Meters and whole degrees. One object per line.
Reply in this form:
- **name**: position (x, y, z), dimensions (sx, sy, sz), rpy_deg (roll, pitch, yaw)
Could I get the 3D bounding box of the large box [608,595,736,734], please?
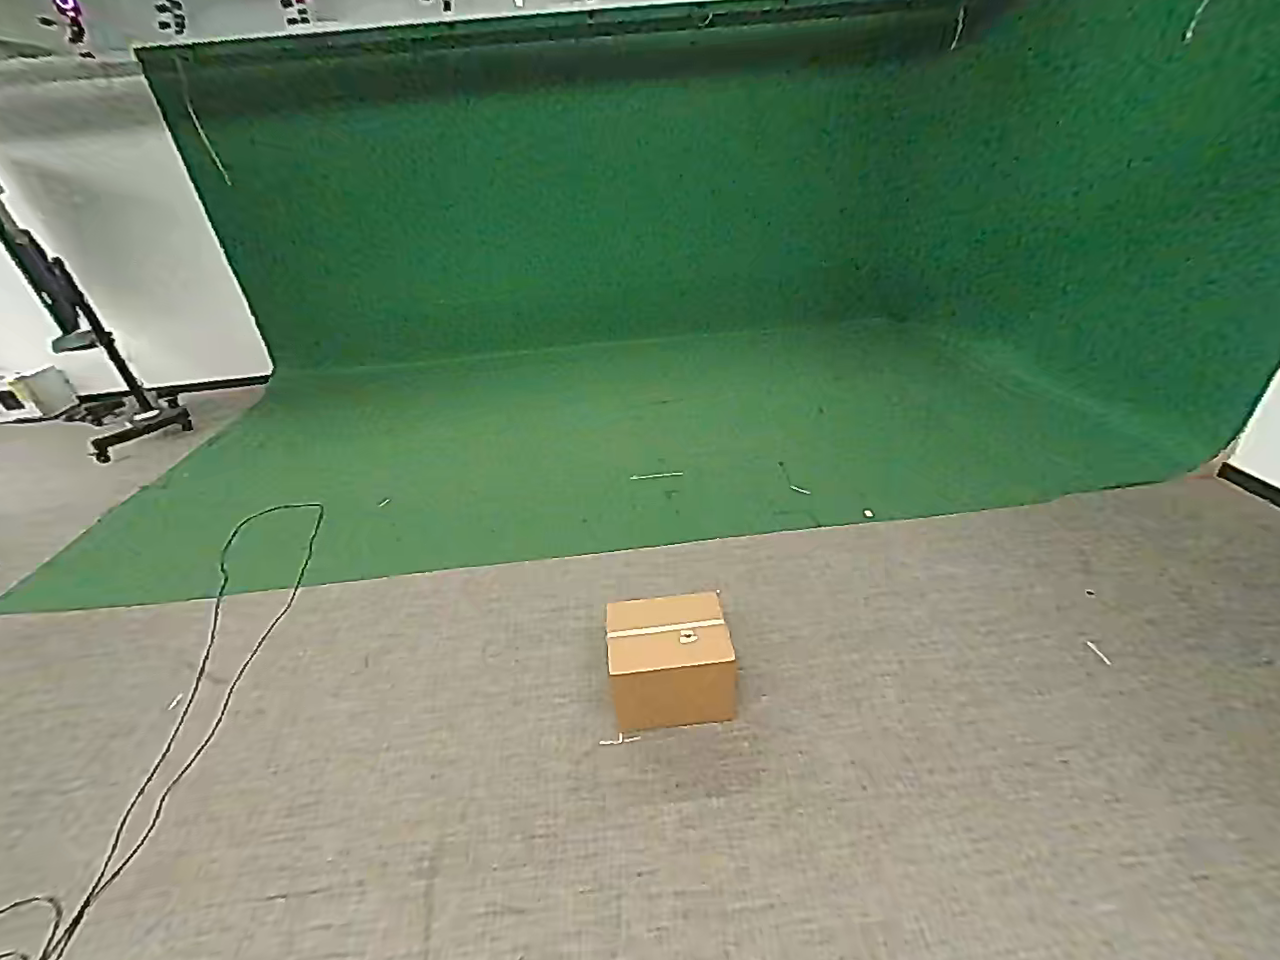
- **large box**: position (0.104, 0.642, 1.896), dimensions (0.408, 0.320, 0.320), rpy_deg (-6, 32, -2)
